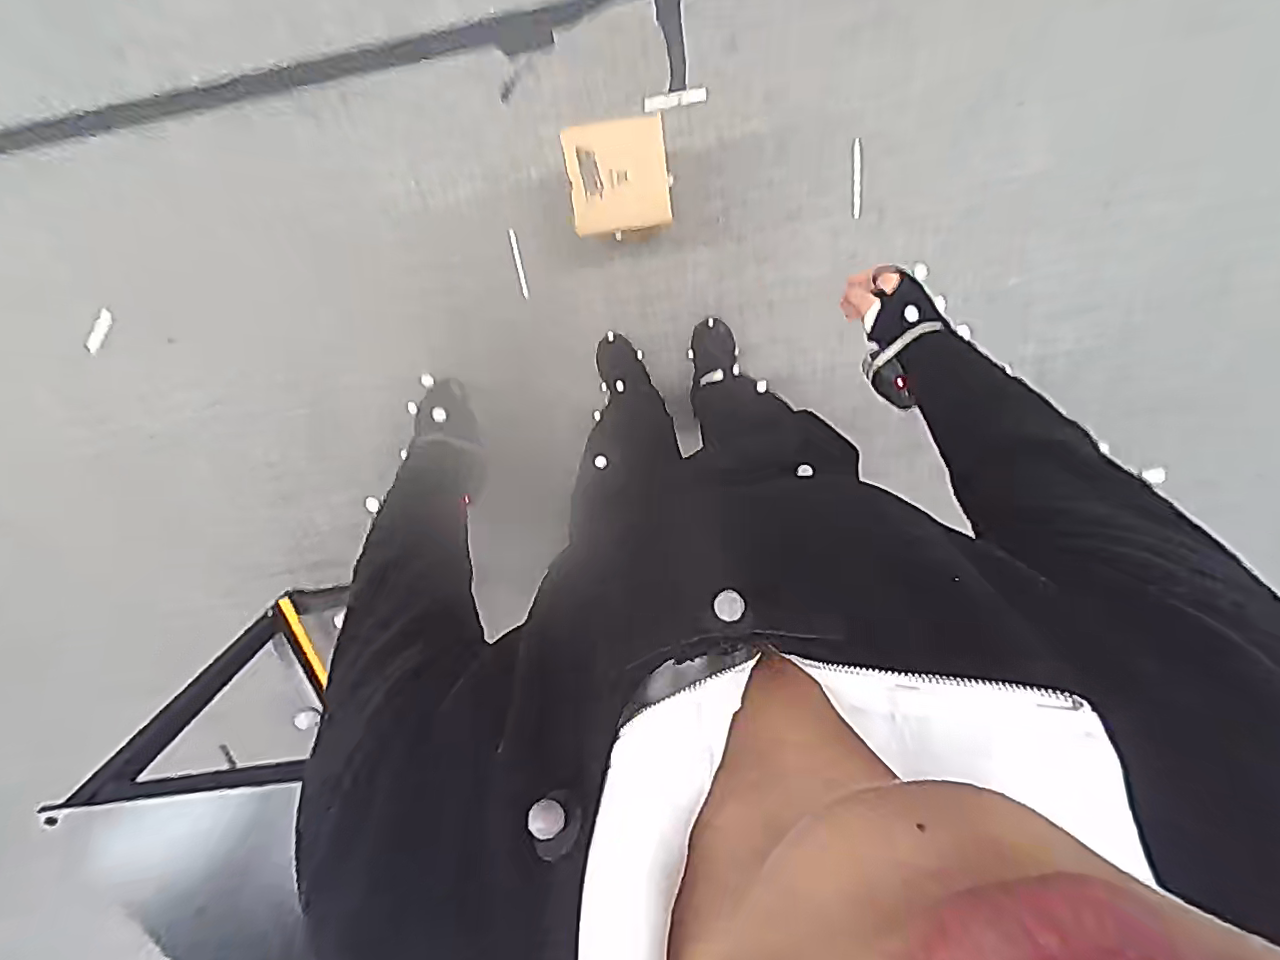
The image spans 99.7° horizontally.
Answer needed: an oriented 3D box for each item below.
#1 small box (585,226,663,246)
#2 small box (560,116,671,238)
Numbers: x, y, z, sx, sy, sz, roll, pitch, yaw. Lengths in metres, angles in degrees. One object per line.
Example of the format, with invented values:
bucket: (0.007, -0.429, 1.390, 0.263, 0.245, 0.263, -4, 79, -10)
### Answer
small box: (-0.040, -0.610, 1.161, 0.168, 0.176, 0.179, -7, 114, 3)
small box: (-0.039, -0.551, 1.006, 0.179, 0.176, 0.168, -7, 113, 3)
